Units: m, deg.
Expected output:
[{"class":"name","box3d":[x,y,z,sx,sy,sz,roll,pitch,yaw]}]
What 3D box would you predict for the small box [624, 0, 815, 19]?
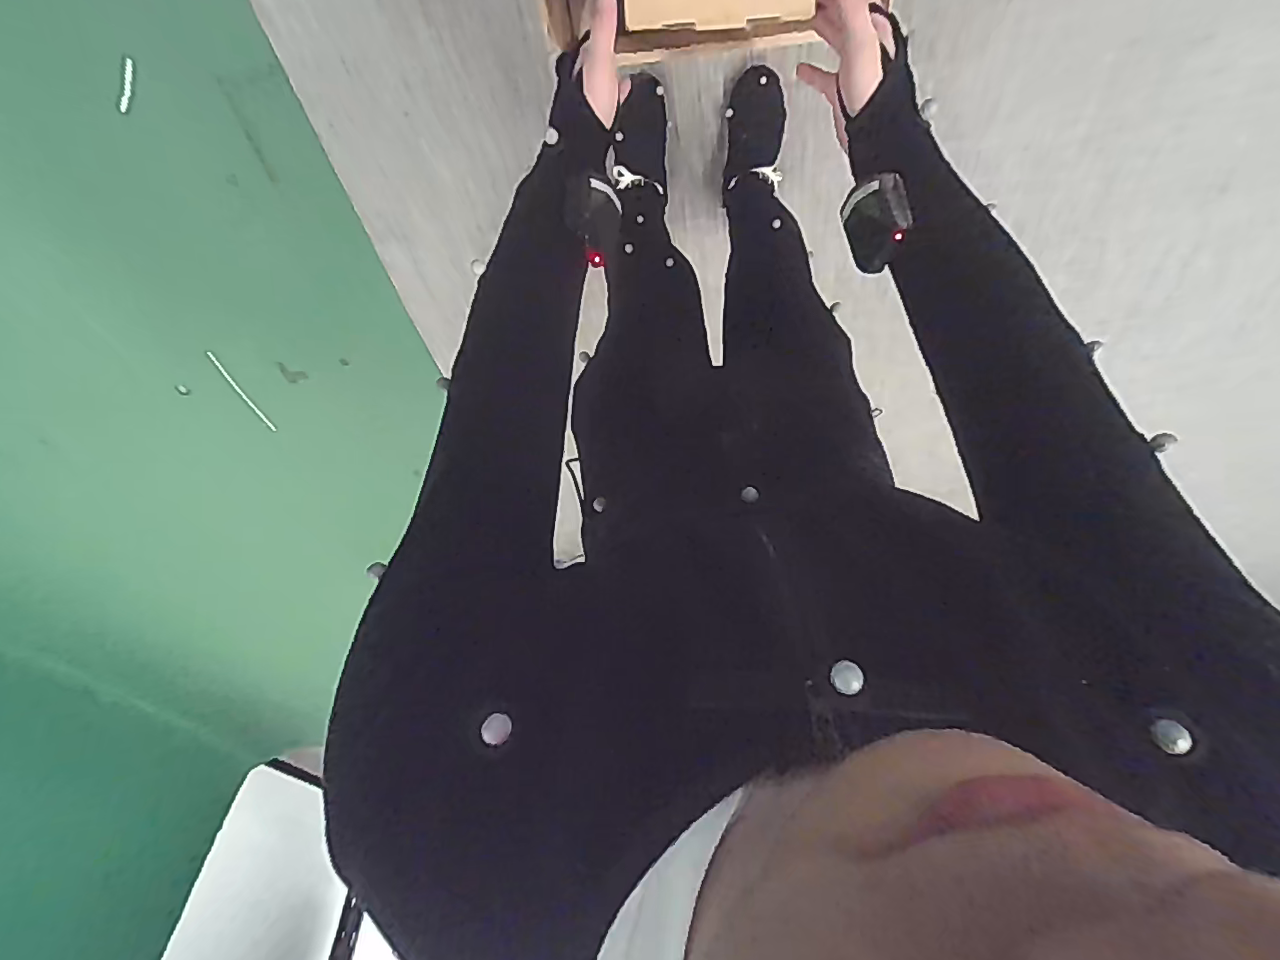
[{"class":"small box","box3d":[0.067,-0.518,0.453,0.168,0.176,0.179,-2,137,2]}]
